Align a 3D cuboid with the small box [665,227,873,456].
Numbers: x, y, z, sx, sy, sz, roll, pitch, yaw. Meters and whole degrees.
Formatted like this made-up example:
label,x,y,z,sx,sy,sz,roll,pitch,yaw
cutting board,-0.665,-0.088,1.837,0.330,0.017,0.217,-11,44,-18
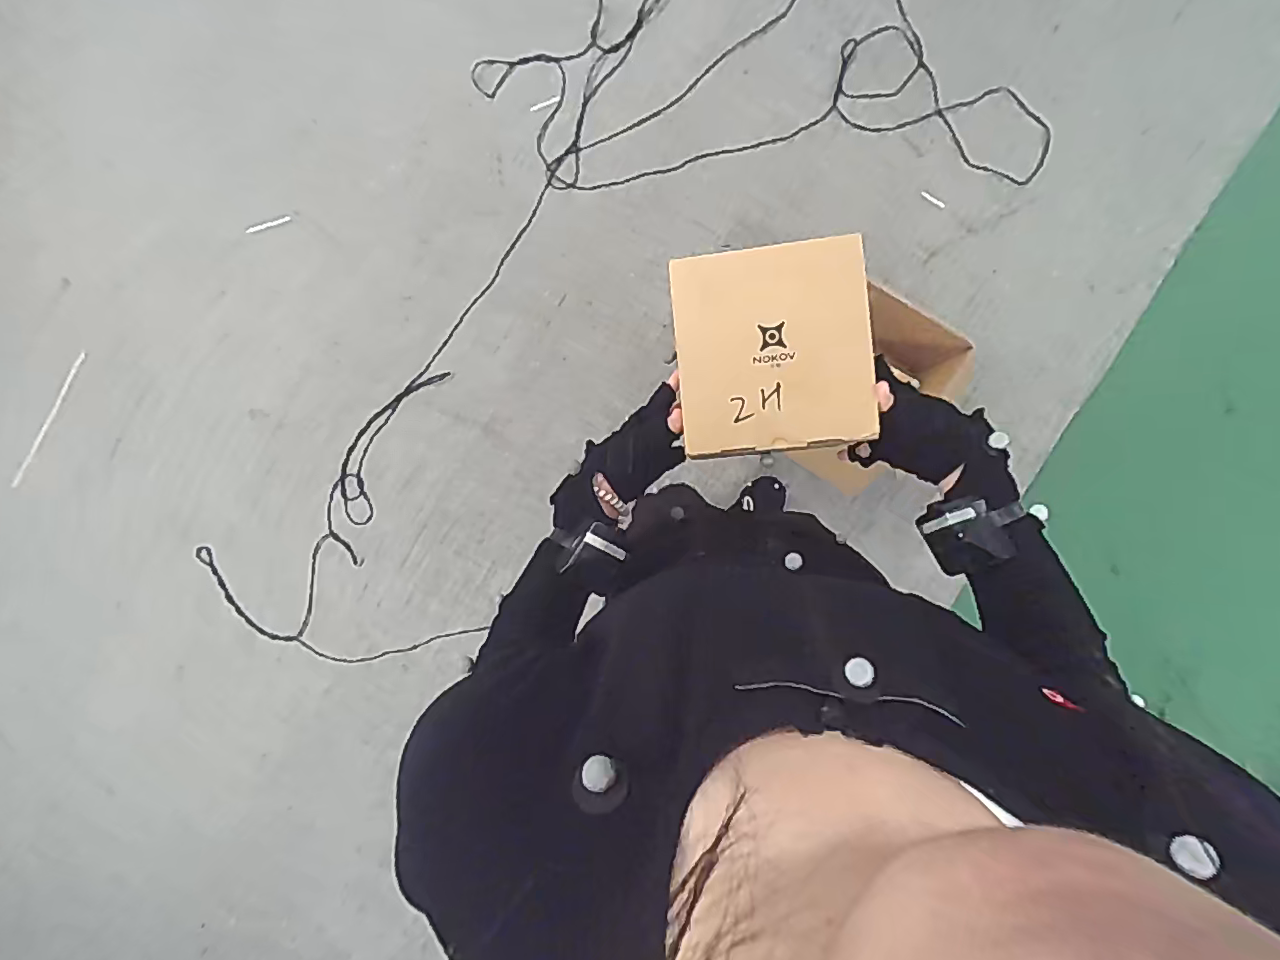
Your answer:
label,x,y,z,sx,sy,sz,roll,pitch,yaw
small box,0.116,-0.119,0.536,0.168,0.176,0.179,-5,91,7
